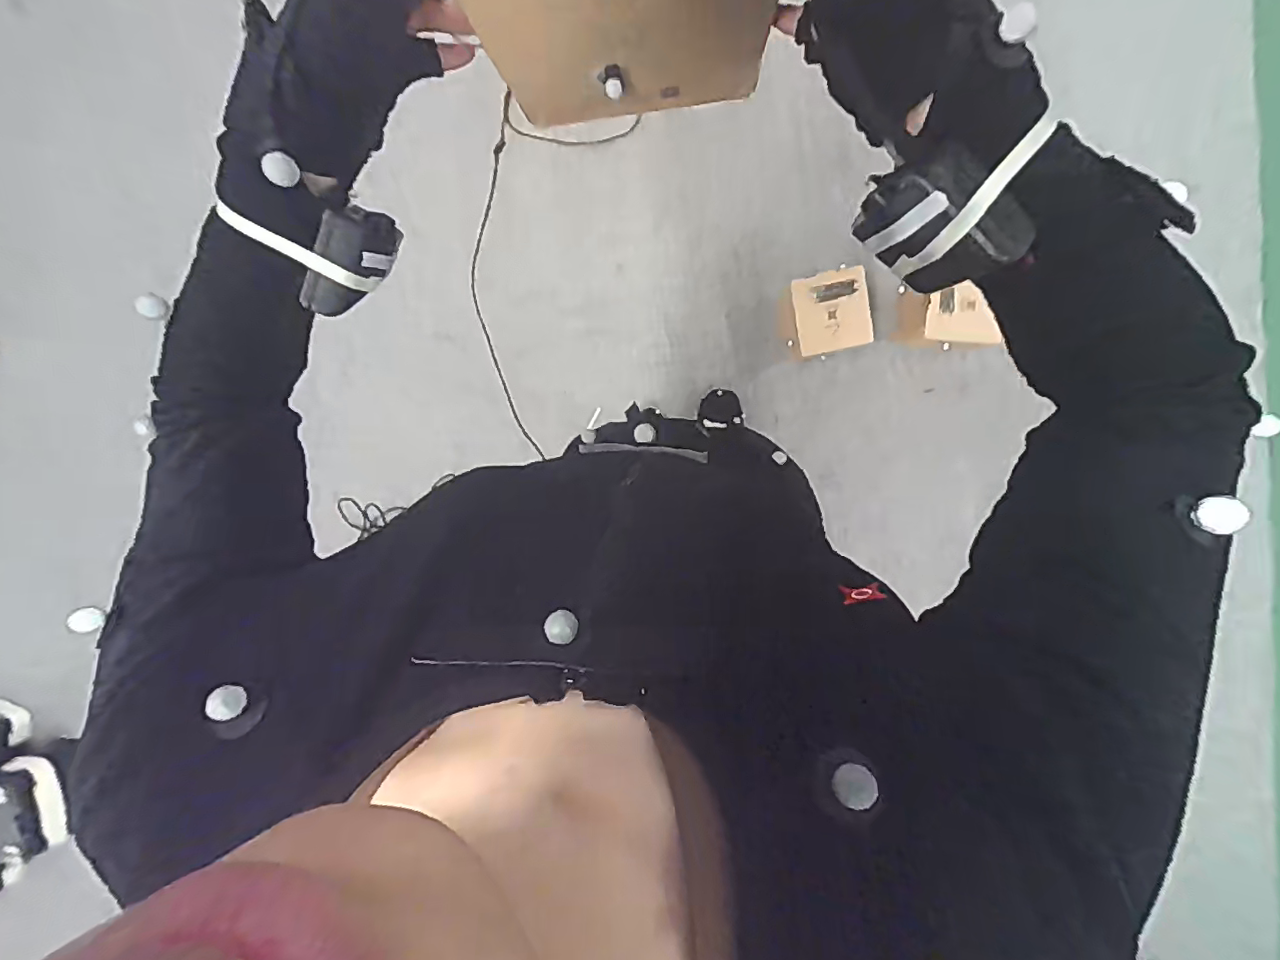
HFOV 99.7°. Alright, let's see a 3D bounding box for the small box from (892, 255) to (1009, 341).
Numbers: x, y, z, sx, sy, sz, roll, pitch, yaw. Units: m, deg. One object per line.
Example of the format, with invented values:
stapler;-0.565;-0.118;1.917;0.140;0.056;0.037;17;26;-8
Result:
small box;0.722;-0.423;1.280;0.179;0.176;0.168;4;100;2
